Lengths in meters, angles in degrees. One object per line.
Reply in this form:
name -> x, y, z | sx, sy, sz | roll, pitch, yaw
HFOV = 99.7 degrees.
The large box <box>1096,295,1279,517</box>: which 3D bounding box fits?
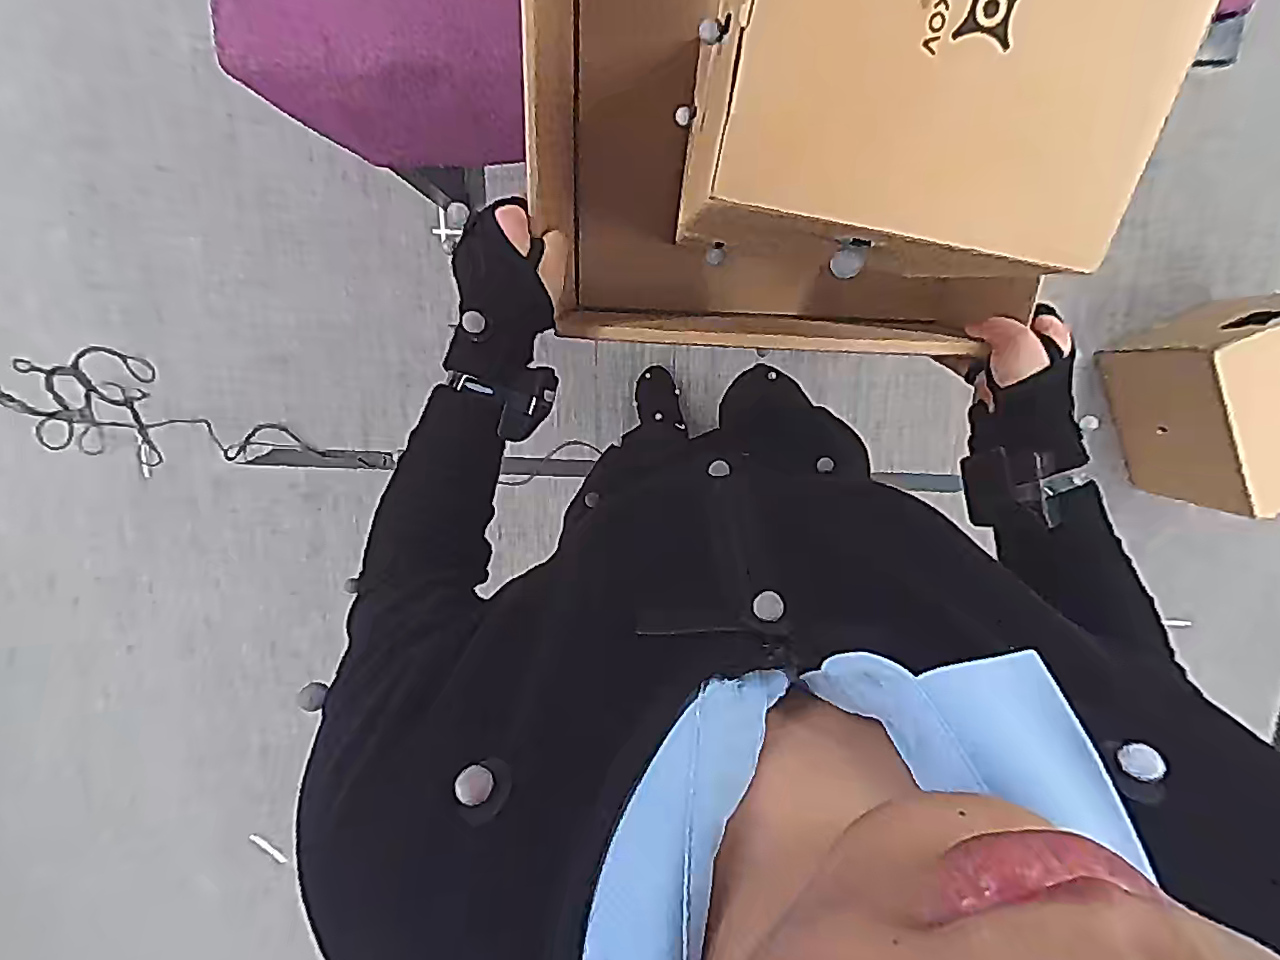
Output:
large box -> 1.395, -0.181, 1.273 | 0.320, 0.320, 0.408 | -25, 99, 5
